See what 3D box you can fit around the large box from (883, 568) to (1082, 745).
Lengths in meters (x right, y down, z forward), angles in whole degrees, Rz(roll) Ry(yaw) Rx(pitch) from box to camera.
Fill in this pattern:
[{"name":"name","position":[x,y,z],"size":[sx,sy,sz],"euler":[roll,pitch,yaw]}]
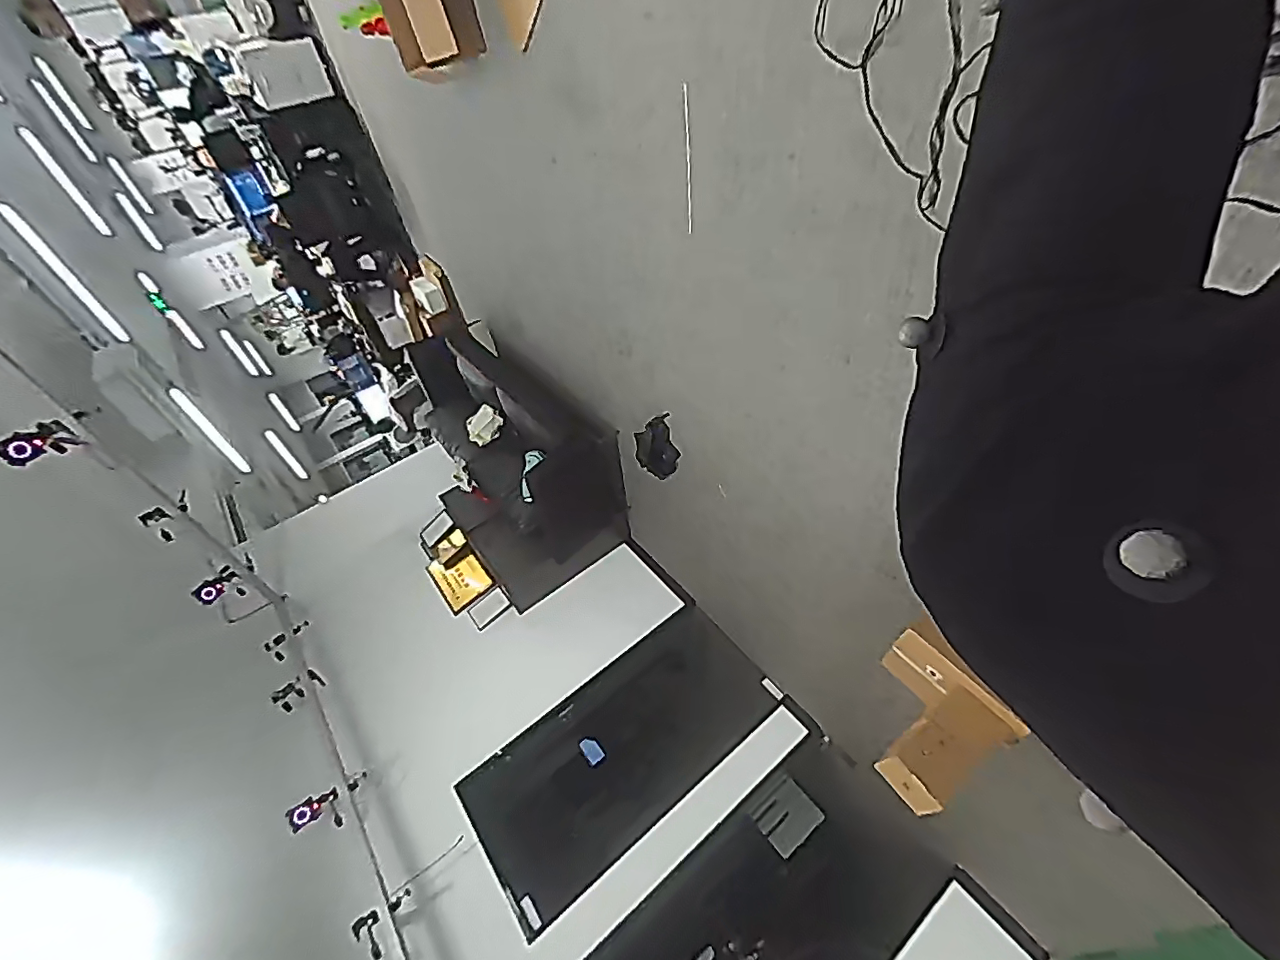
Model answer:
[{"name":"large box","position":[1.111,0.578,1.792],"size":[0.408,0.320,0.320],"euler":[45,155,31]}]

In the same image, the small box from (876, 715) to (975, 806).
[{"name":"small box","position":[0.841,0.821,1.590],"size":[0.168,0.176,0.179],"euler":[48,158,29]}]
